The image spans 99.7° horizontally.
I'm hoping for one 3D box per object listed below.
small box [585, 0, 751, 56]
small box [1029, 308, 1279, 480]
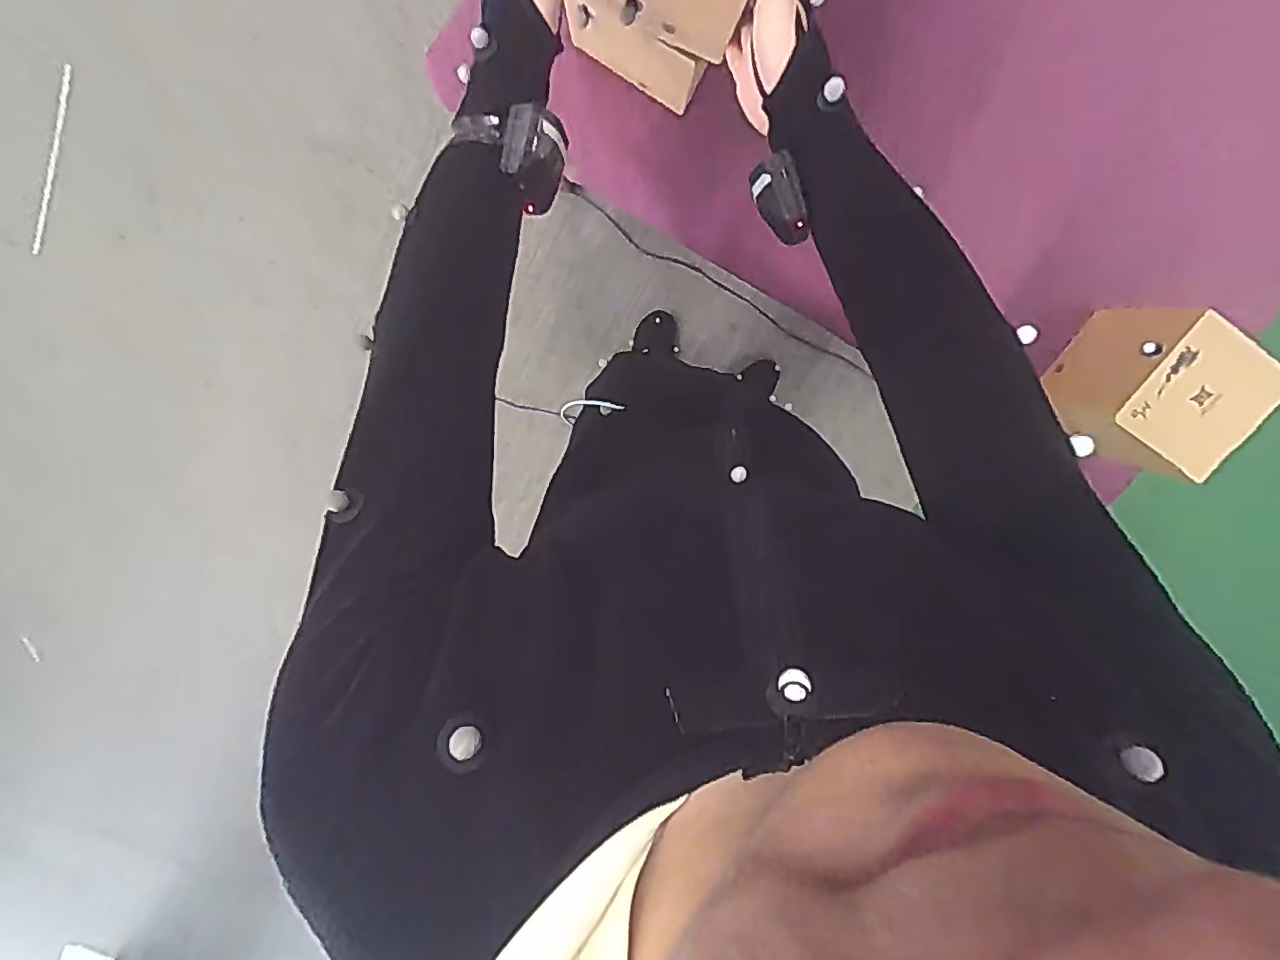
[{"bbox_3d":[0.041,-0.514,0.452,0.168,0.176,0.179,17,105,-8],"label":"small box"},{"bbox_3d":[0.723,-0.131,0.772,0.179,0.176,0.168,31,104,-10],"label":"small box"}]
